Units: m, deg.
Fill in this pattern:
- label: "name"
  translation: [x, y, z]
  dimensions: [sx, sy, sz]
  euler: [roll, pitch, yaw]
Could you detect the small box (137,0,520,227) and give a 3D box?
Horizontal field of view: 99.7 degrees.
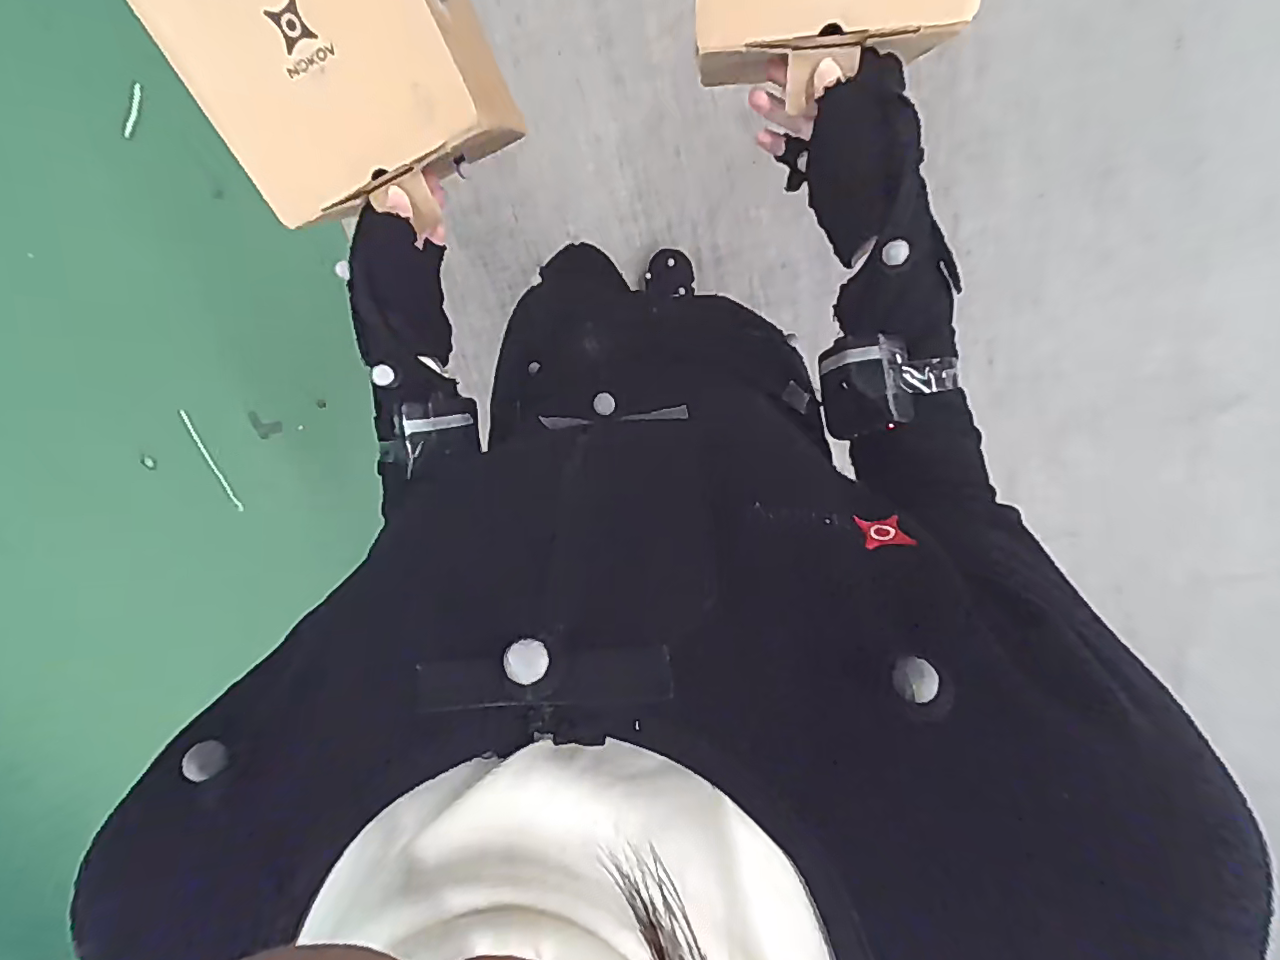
- label: "small box"
  translation: [-0.212, -0.321, 0.409]
  dimensions: [0.168, 0.176, 0.179]
  euler: [-21, 118, 12]
